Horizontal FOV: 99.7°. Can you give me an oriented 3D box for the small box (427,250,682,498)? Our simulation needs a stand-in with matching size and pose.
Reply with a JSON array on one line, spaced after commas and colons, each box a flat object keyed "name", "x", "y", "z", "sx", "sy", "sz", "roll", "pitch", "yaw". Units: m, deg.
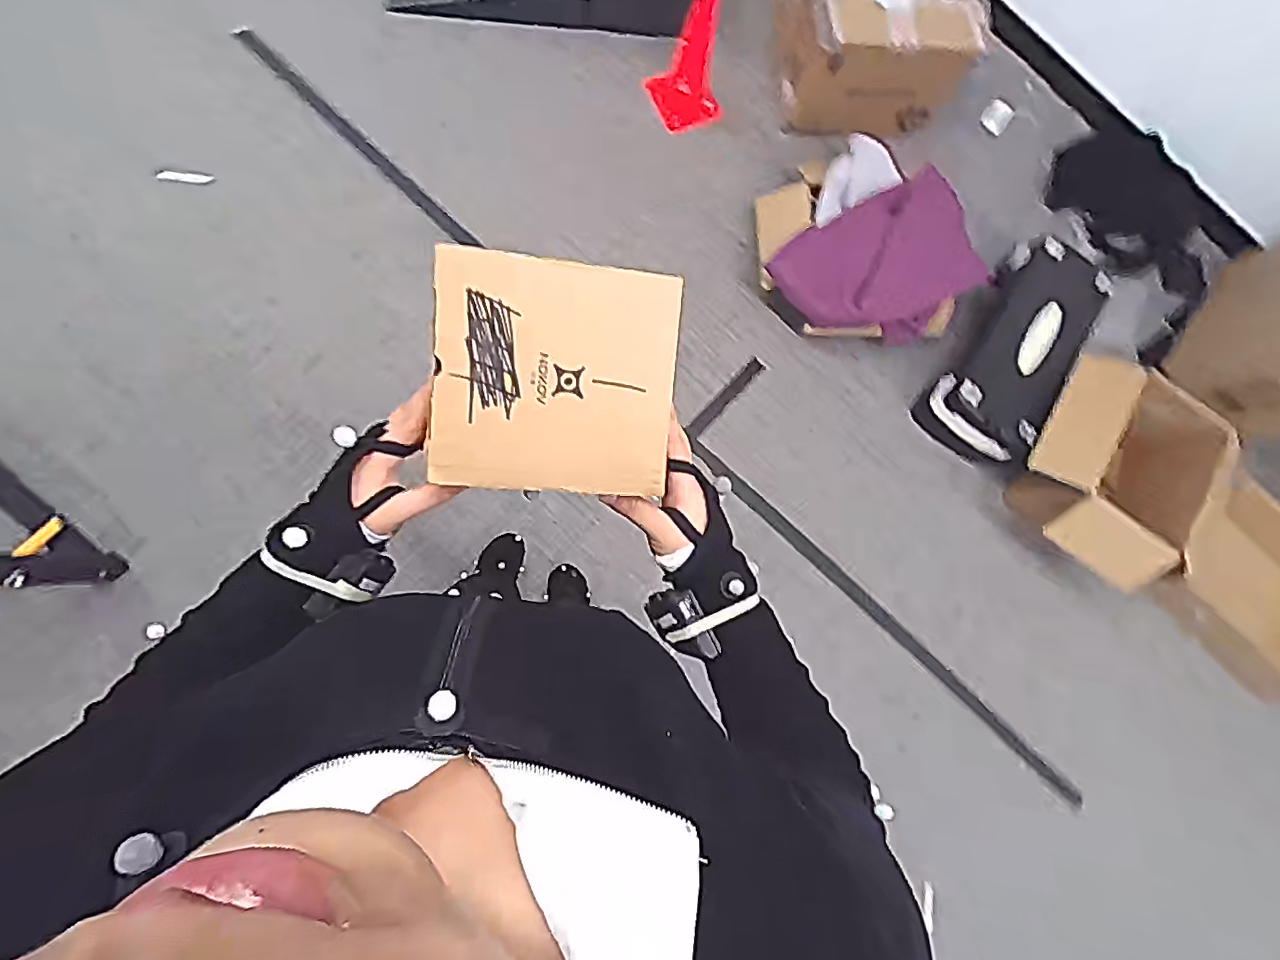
[{"name": "small box", "x": -0.075, "y": -0.081, "z": 0.468, "sx": 0.179, "sy": 0.176, "sz": 0.168, "roll": 3, "pitch": 97, "yaw": -12}]
